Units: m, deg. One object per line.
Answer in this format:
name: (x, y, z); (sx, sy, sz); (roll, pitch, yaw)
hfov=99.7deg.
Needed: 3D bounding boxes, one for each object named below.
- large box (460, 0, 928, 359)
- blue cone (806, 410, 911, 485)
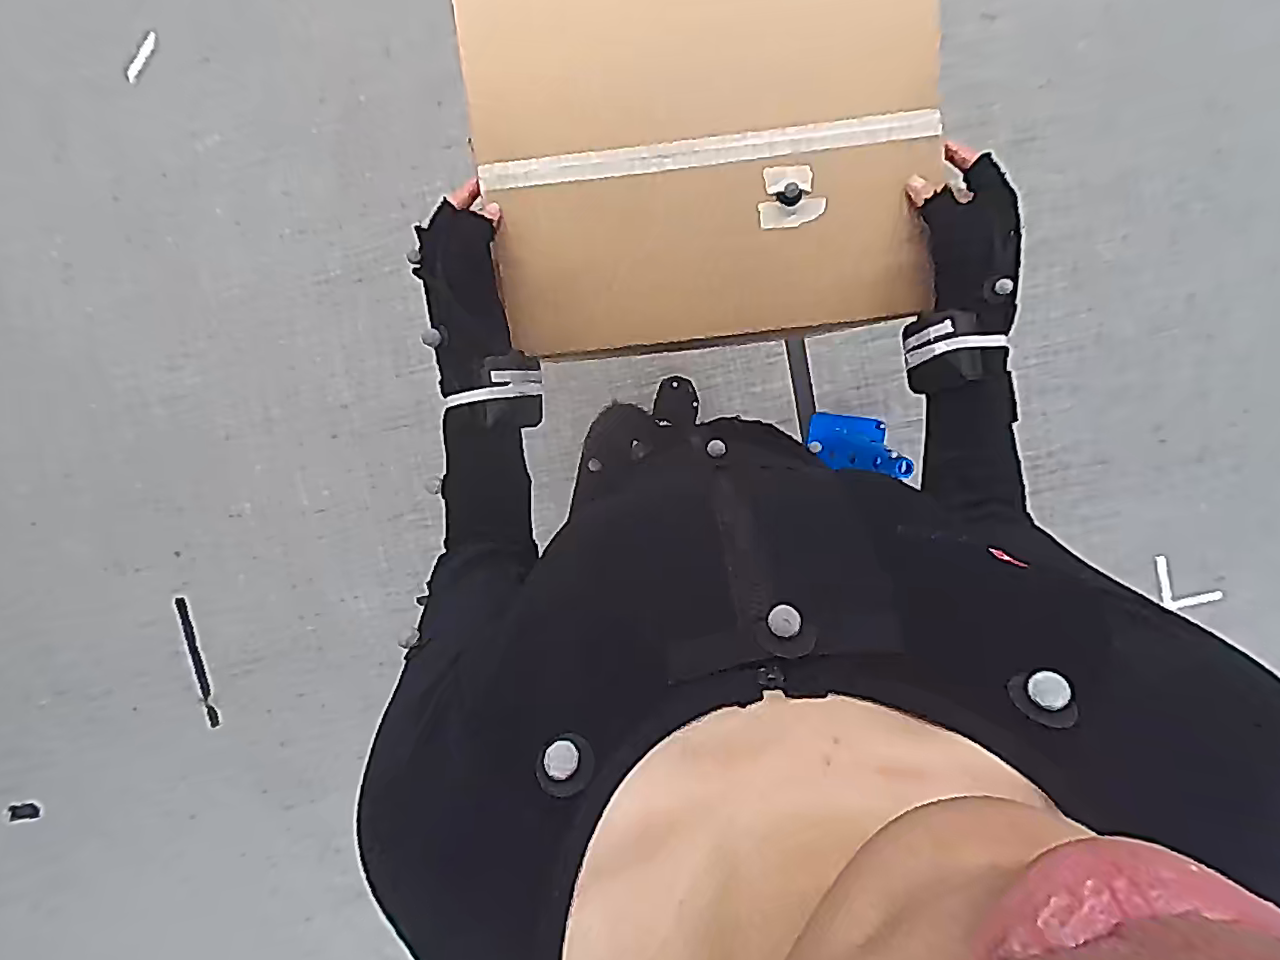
large box: (0.055, -0.326, 0.631); (0.408, 0.320, 0.320); (-6, 101, 0)
blue cone: (0.540, -0.067, 1.283); (0.193, 0.380, 0.192); (9, 97, 1)
